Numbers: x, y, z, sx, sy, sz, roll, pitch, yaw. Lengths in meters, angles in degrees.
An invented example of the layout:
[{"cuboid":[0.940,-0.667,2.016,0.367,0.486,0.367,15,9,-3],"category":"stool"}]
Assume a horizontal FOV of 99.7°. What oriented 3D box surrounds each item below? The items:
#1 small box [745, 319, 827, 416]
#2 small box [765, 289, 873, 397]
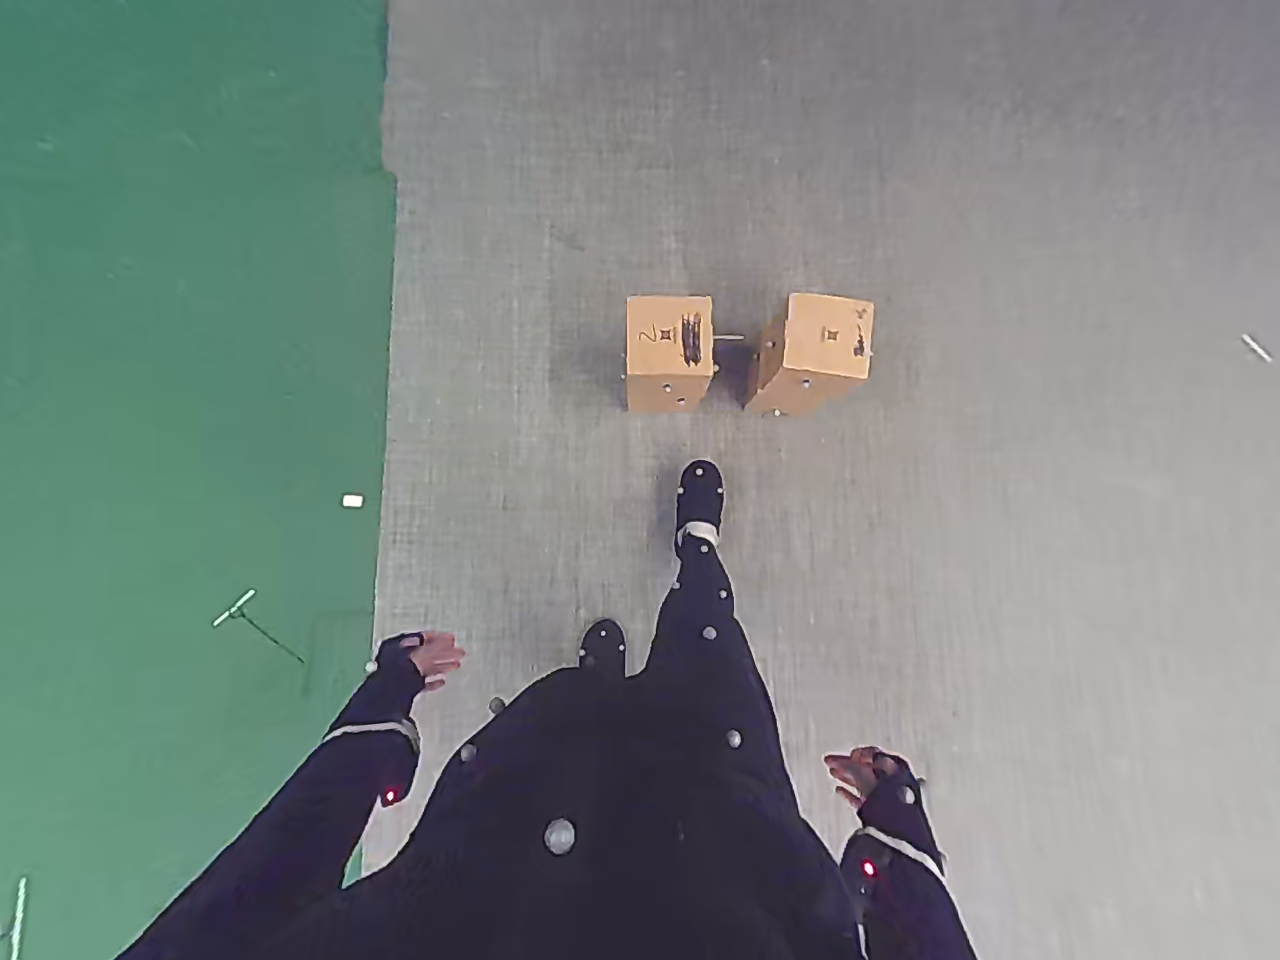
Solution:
[{"cuboid":[0.363,-0.272,1.333,0.168,0.176,0.179,8,83,1],"category":"small box"},{"cuboid":[0.378,-0.288,1.169,0.179,0.176,0.168,8,83,2],"category":"small box"}]
